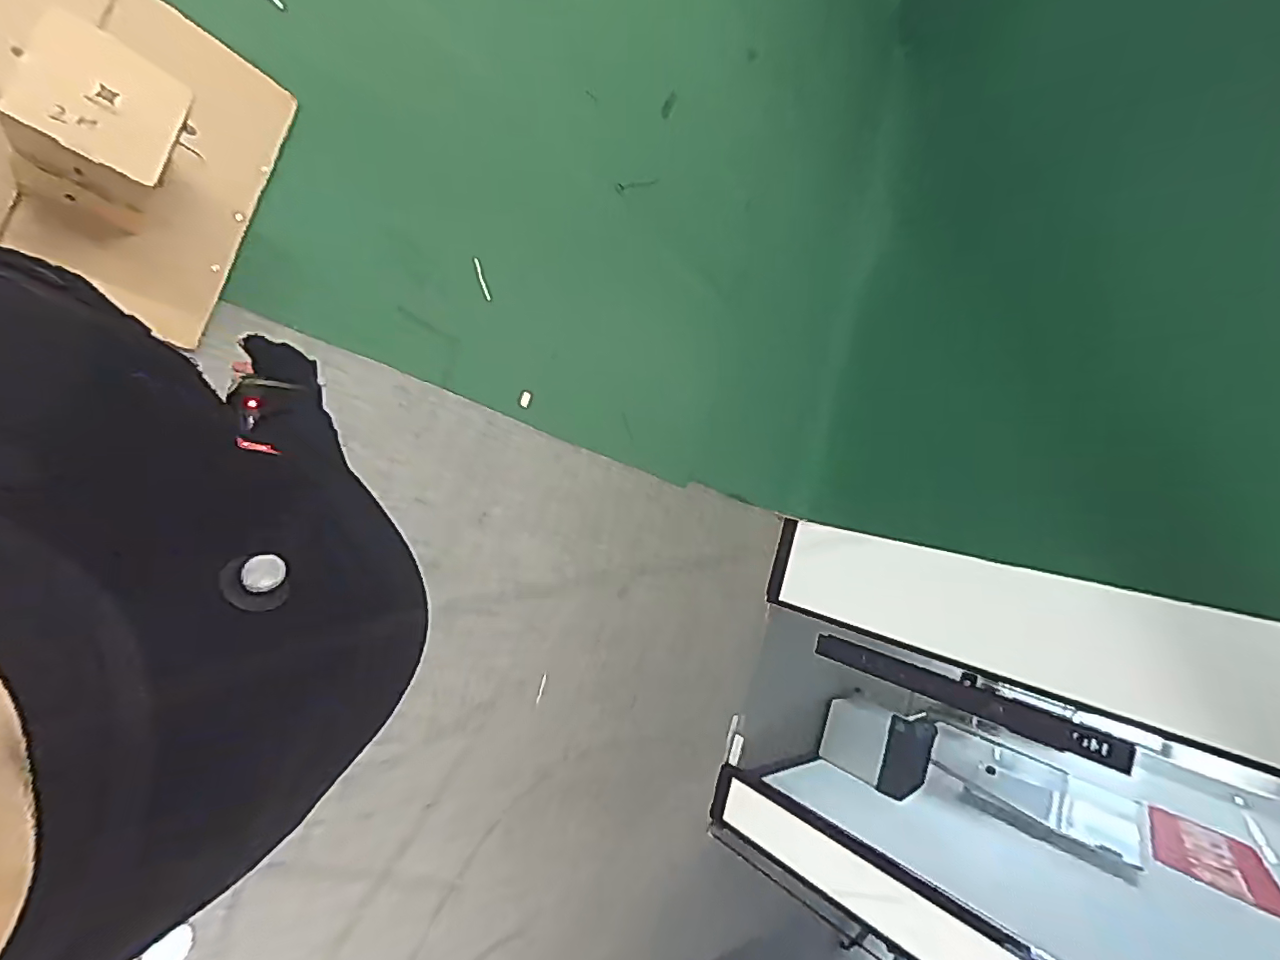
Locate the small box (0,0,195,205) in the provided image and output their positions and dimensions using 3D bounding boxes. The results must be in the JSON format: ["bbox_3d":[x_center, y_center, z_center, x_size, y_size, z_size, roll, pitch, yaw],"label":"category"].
[{"bbox_3d":[-0.828,-0.561,0.830,0.168,0.176,0.179,24,81,-45],"label":"small box"}]

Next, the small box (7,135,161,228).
[{"bbox_3d":[-0.949,-0.574,0.943,0.168,0.176,0.179,21,84,-46],"label":"small box"}]
